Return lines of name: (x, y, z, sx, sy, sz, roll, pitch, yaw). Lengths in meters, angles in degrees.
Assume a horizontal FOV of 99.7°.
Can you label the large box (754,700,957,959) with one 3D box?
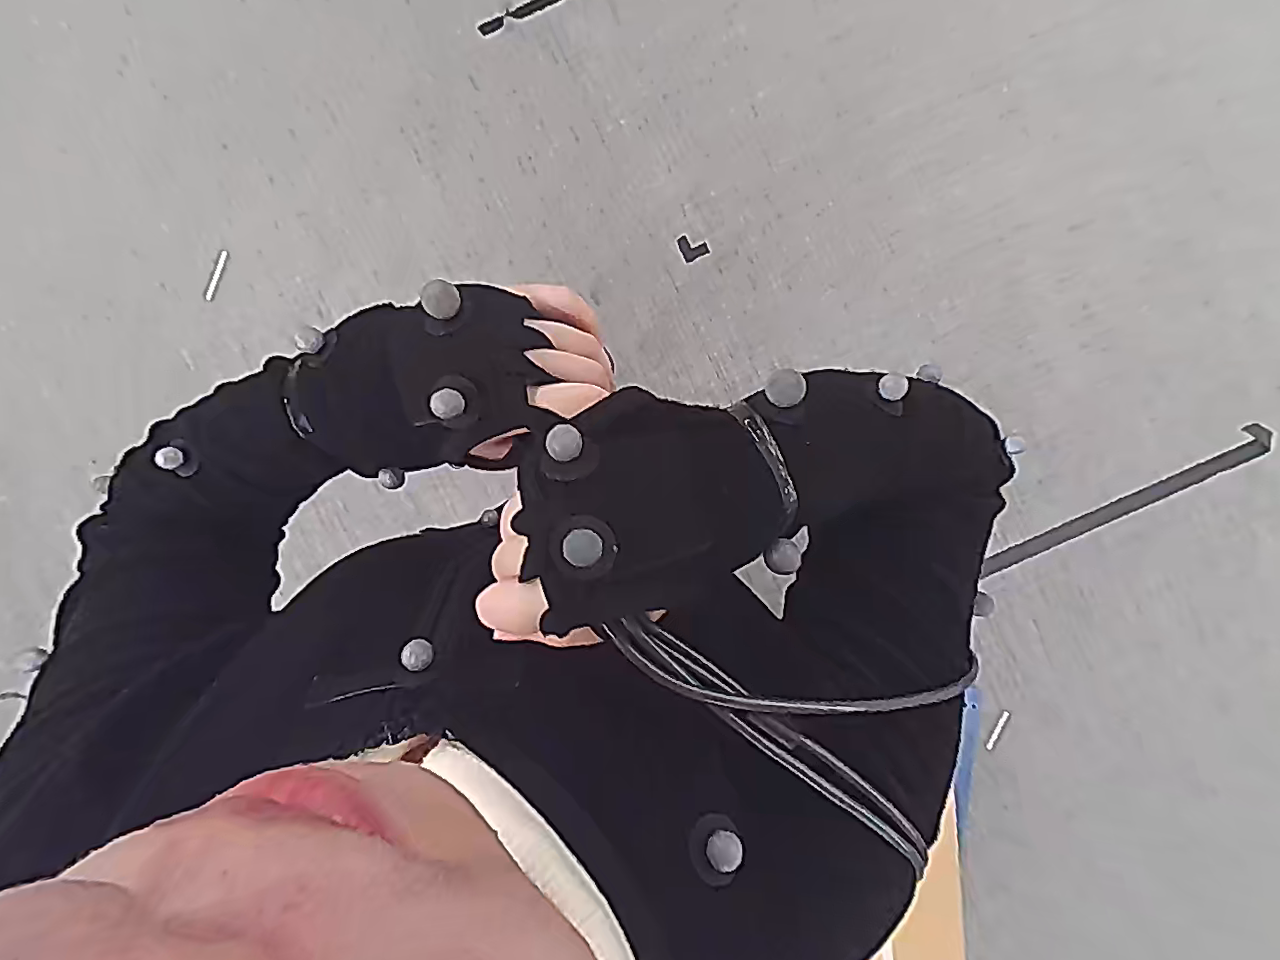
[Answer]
large box: (0.453, 0.762, 1.201, 0.320, 0.320, 0.408, -5, 95, 1)
